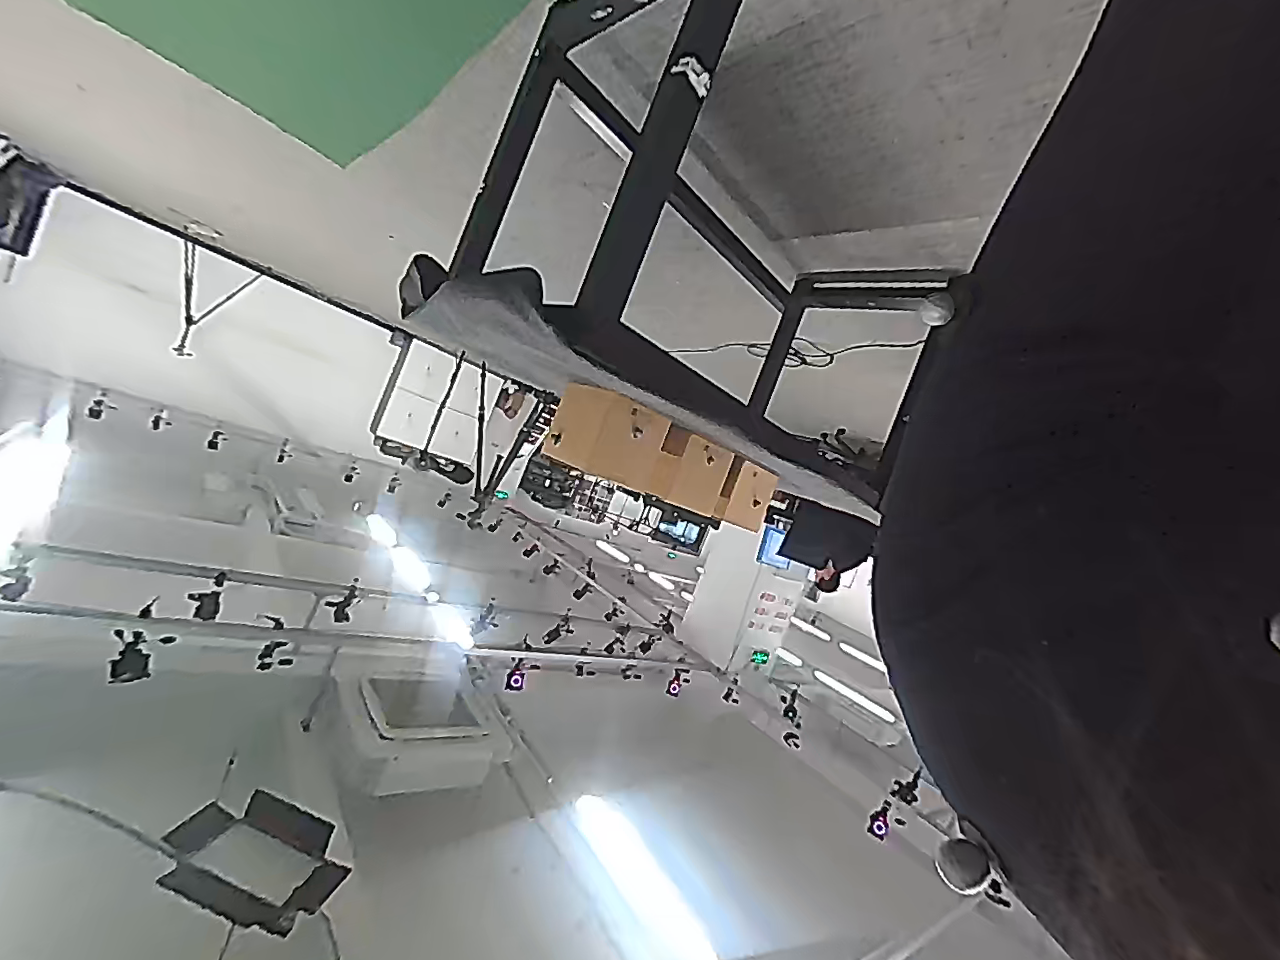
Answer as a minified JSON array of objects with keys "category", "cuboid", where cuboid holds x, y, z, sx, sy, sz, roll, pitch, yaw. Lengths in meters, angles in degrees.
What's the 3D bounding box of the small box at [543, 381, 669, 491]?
[{"category":"small box","cuboid":[-0.069,-0.097,1.131,0.168,0.176,0.179,21,-179,-42]}]
